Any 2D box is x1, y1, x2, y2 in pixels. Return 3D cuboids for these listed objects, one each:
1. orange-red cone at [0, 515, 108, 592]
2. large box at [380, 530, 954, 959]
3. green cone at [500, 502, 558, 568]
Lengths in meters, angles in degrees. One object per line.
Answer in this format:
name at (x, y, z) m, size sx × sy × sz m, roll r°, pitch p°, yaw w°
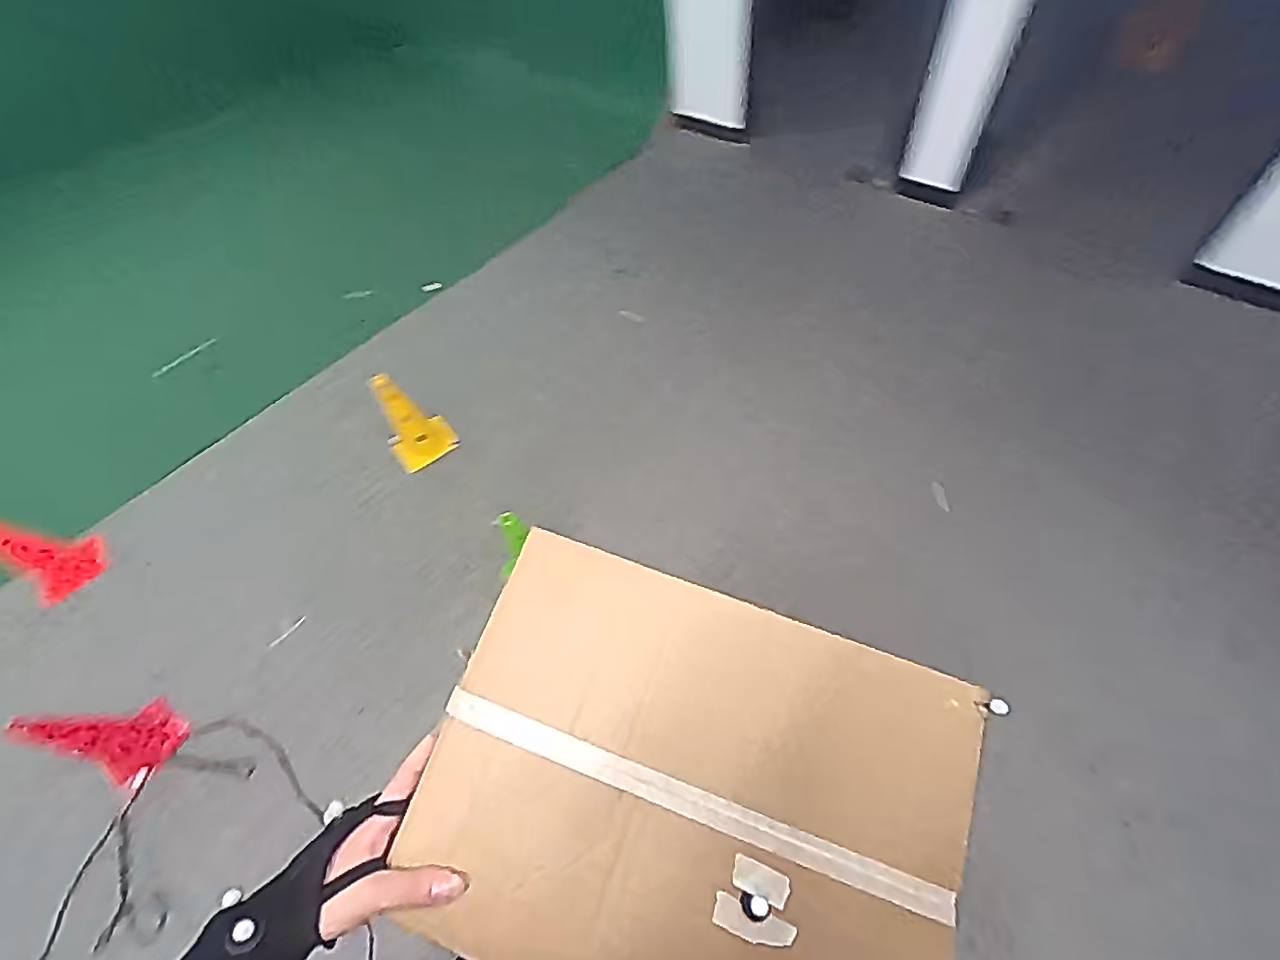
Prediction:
orange-red cone at (-2.045, 0.193, 1.799) m, size 0.199 × 0.360 × 0.198 m, roll -38°, pitch 60°, yaw -15°
large box at (0.034, 0.284, 0.575) m, size 0.408 × 0.320 × 0.320 m, roll 17°, pitch 74°, yaw 7°
green cone at (-0.333, 0.176, 1.603) m, size 0.200 × 0.368 × 0.202 m, roll -38°, pitch 60°, yaw -17°
